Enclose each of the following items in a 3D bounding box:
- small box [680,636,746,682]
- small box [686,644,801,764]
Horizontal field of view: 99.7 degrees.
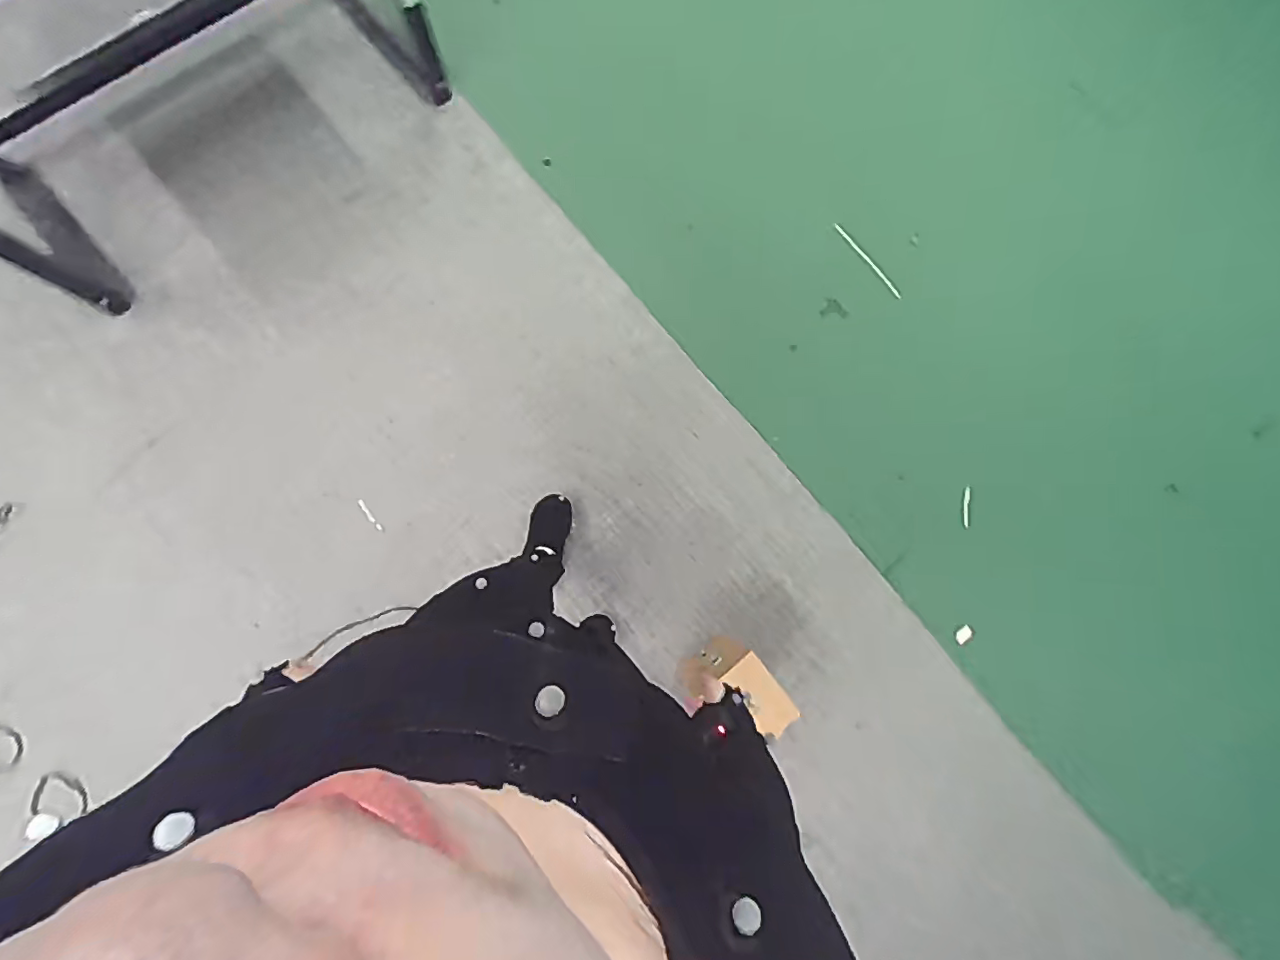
[{"bbox_3d":[0.221,0.523,1.400,0.168,0.176,0.179,-35,85,-8],"label":"small box"},{"bbox_3d":[0.228,0.500,1.239,0.168,0.176,0.179,-38,85,-9],"label":"small box"}]
